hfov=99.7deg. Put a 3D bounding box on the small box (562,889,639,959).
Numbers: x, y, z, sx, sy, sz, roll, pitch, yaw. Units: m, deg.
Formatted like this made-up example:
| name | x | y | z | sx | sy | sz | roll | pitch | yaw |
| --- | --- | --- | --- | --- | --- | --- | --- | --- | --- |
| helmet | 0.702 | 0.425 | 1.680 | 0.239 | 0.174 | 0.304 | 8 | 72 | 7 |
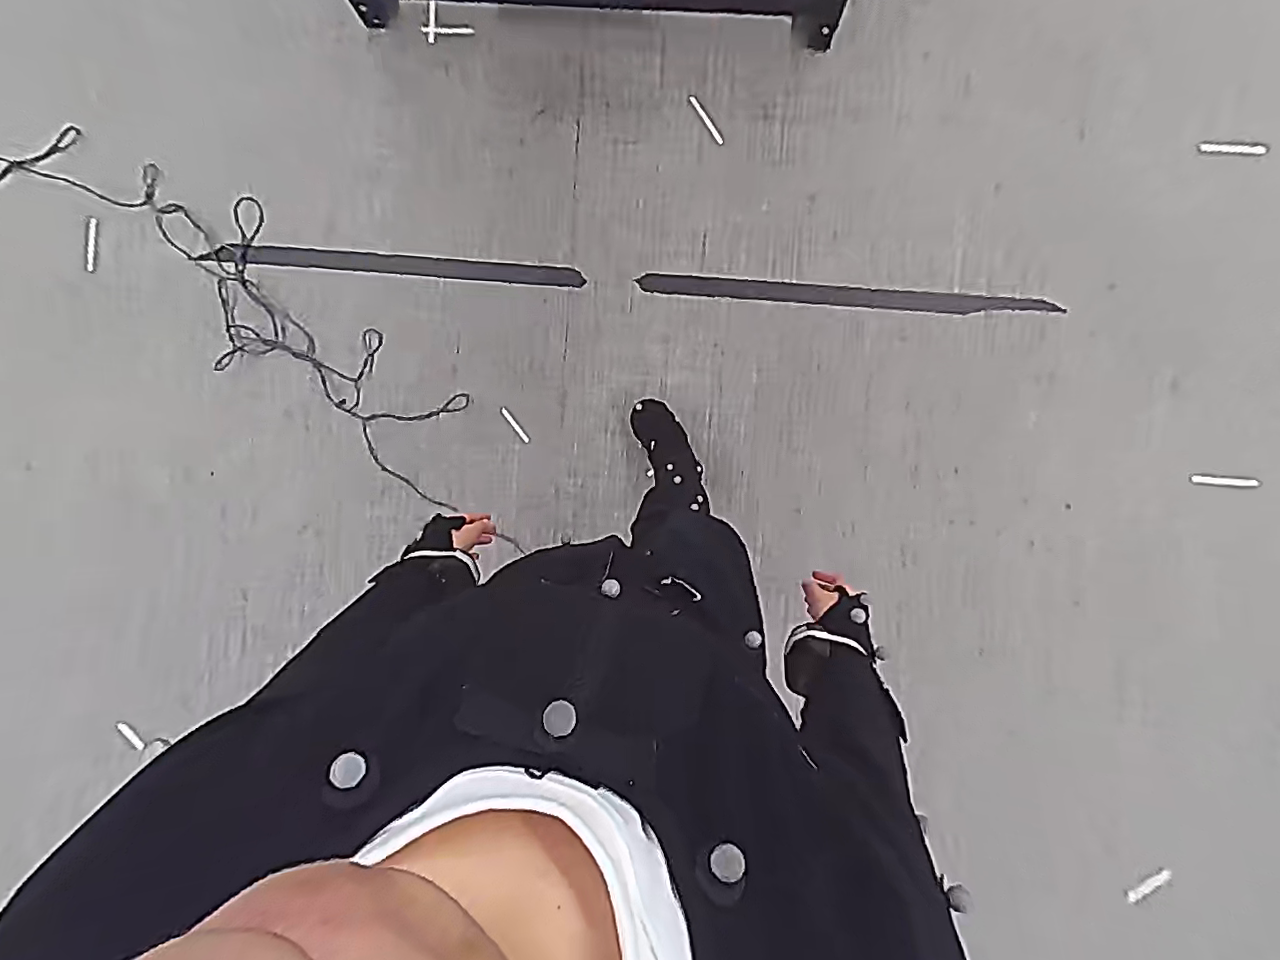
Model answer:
| name | x | y | z | sx | sy | sz | roll | pitch | yaw |
| --- | --- | --- | --- | --- | --- | --- | --- | --- | --- |
| small box | -0.095 | 1.136 | 1.302 | 0.179 | 0.176 | 0.168 | 4 | 91 | 2 |
